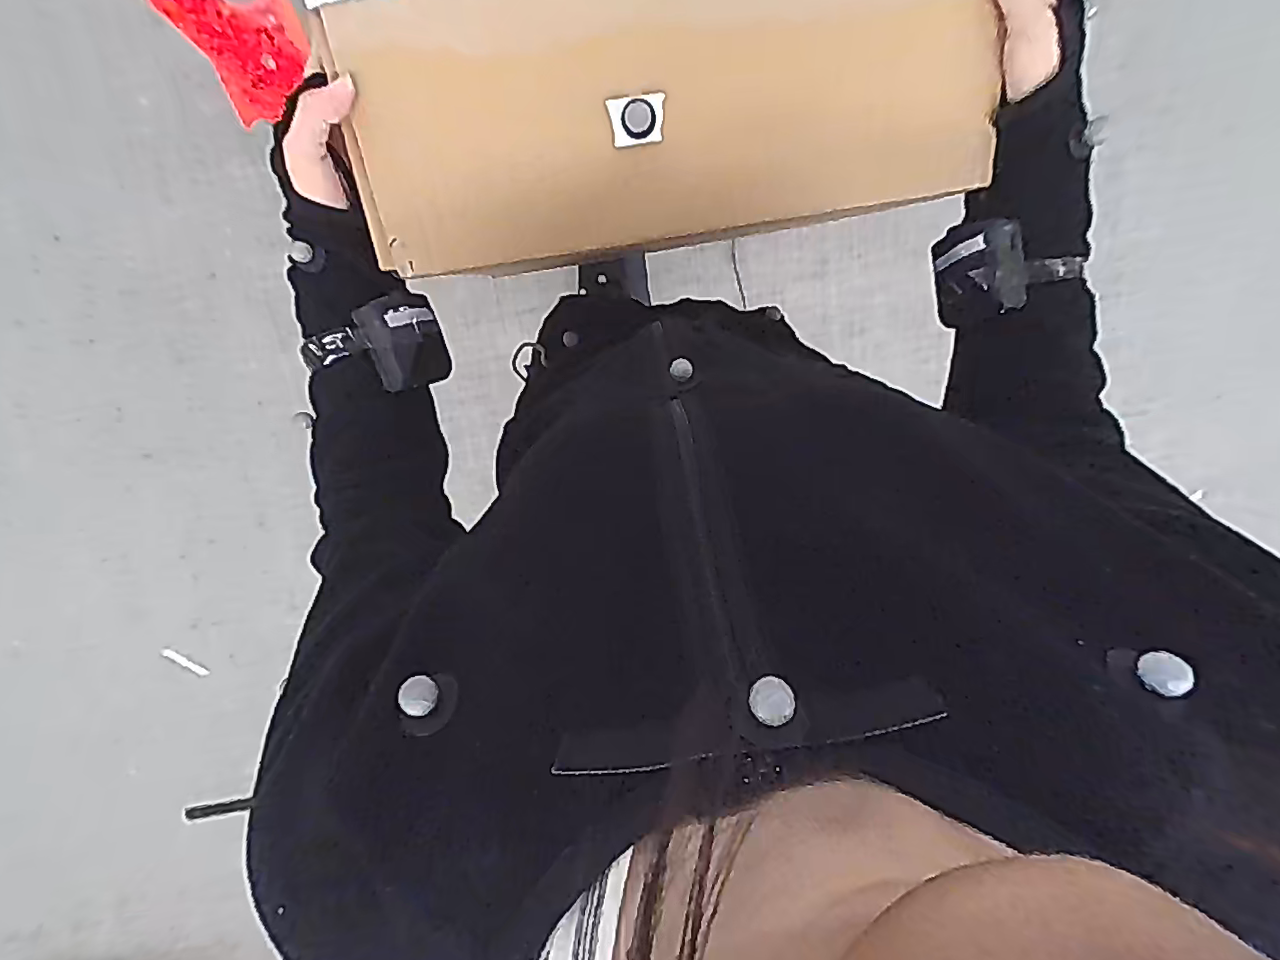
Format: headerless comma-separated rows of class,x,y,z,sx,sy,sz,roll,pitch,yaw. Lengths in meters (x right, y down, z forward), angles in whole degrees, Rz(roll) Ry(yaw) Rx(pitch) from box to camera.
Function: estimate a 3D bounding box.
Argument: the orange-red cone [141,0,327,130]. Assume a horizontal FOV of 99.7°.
orange-red cone,-0.753,-0.789,0.937,0.199,0.360,0.198,-17,108,3
